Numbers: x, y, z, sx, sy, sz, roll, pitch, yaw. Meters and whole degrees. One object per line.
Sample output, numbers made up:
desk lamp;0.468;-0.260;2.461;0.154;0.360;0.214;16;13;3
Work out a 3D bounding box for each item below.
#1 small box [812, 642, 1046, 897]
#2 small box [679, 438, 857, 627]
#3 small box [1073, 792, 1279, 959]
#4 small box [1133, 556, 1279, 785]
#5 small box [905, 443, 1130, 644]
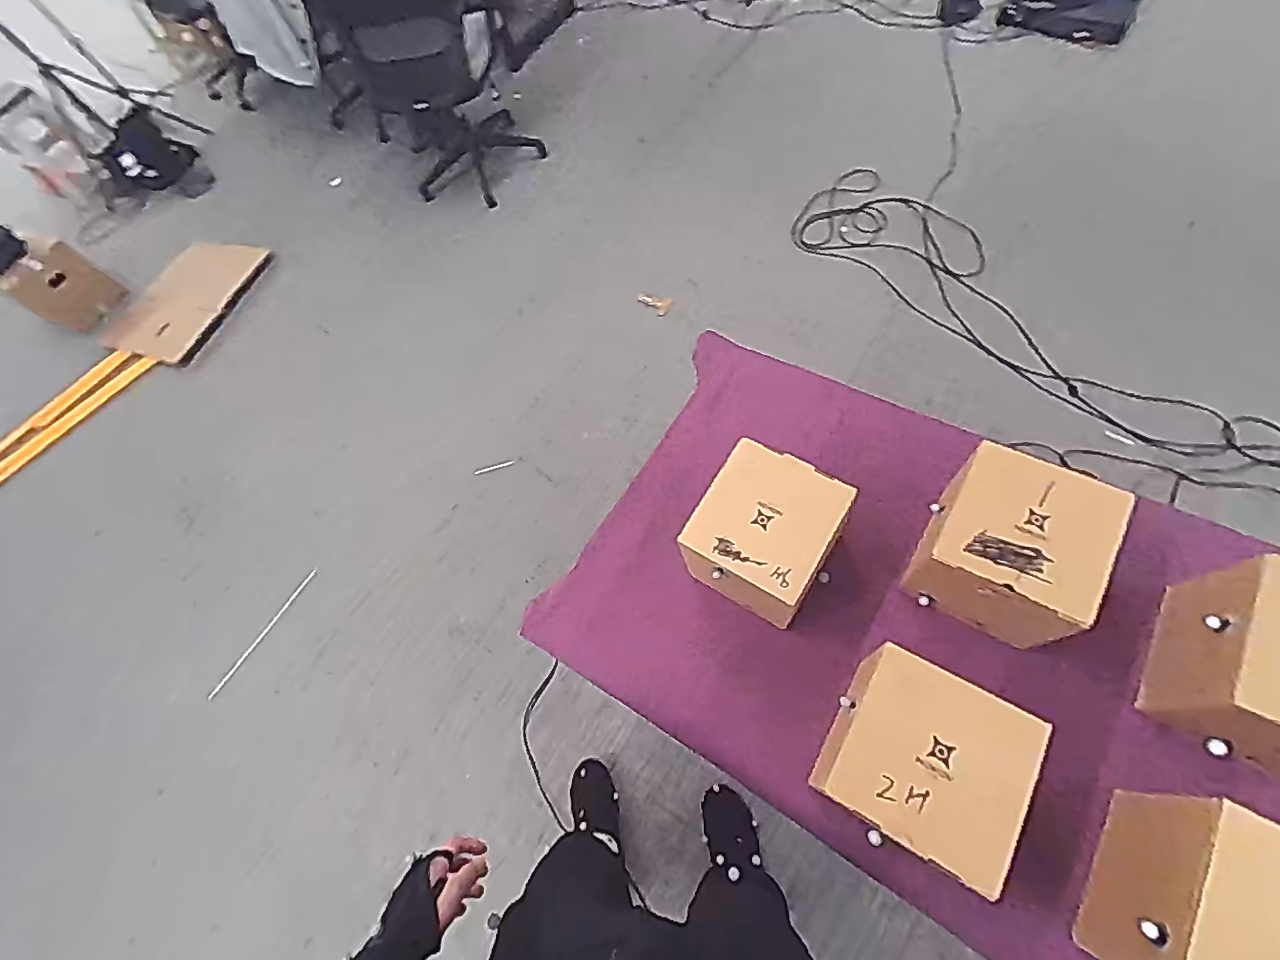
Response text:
small box;0.311;0.316;0.619;0.168;0.176;0.179;27;72;22
small box;0.175;0.079;0.758;0.168;0.176;0.179;29;73;24
small box;0.564;0.429;0.515;0.168;0.176;0.179;27;73;22
small box;0.698;0.215;0.591;0.168;0.176;0.179;26;74;23
small box;0.465;0.089;0.697;0.168;0.176;0.179;27;73;22
